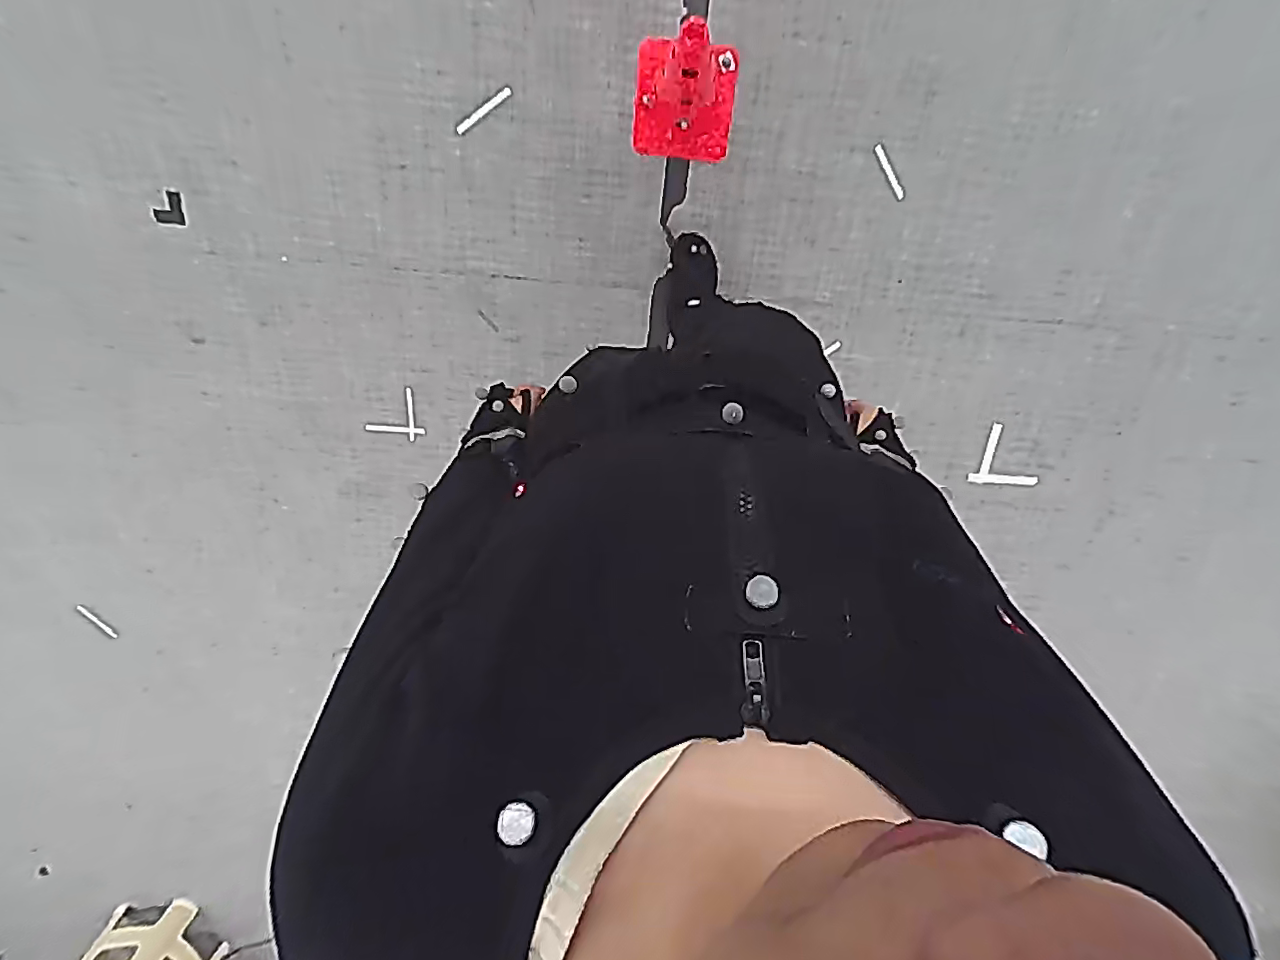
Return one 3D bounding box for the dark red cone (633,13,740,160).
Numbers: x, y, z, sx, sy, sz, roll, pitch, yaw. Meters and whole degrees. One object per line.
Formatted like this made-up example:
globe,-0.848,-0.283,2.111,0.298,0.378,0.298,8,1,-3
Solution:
dark red cone,0.081,-0.693,0.919,0.201,0.394,0.202,5,112,1
